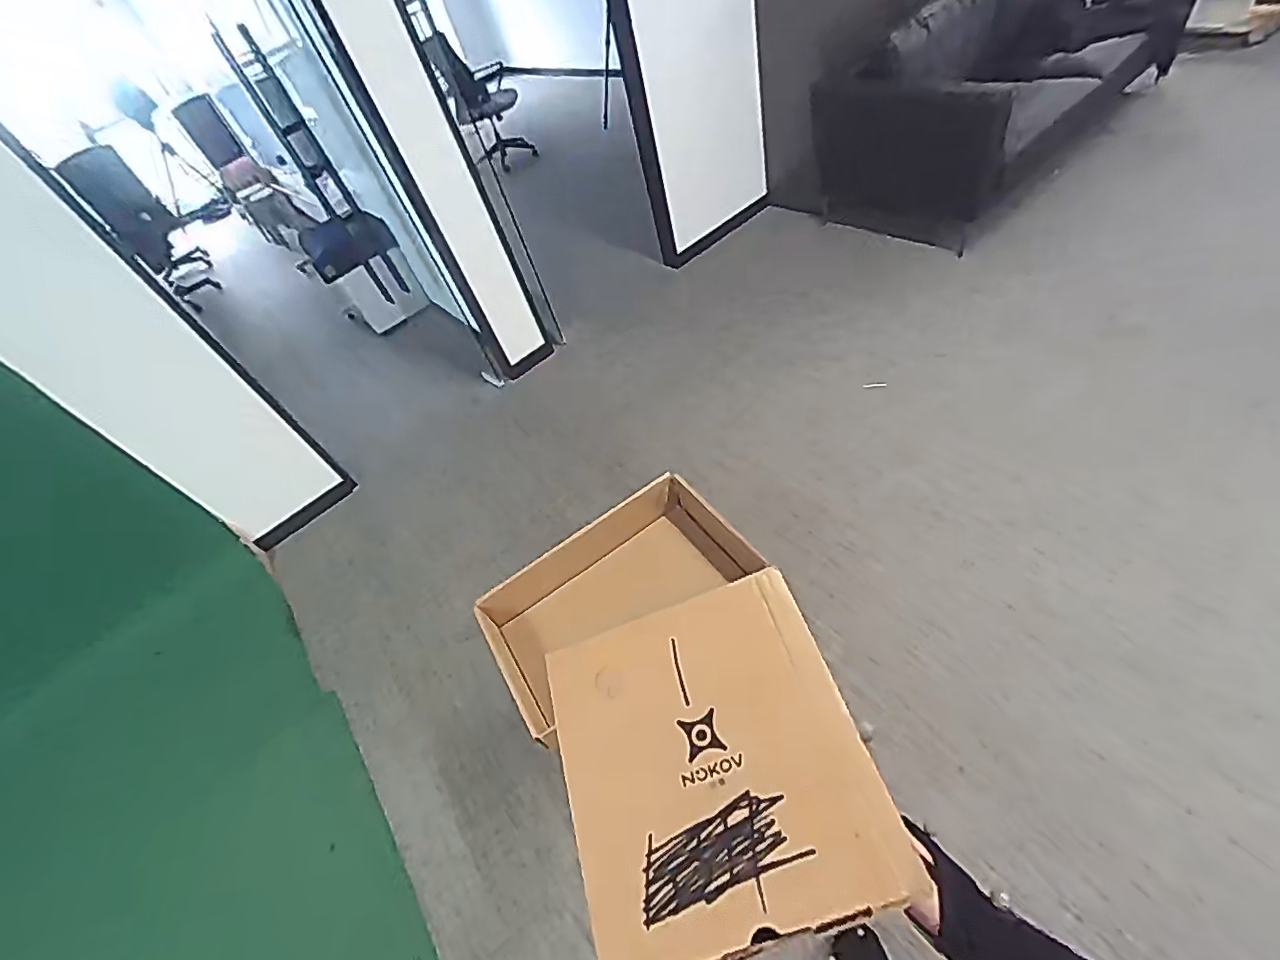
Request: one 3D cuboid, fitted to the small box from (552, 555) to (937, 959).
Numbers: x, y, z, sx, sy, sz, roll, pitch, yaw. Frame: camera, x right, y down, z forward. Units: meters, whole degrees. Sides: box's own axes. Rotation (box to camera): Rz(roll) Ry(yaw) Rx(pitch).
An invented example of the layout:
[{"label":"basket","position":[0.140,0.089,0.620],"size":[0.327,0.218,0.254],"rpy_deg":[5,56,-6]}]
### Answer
[{"label":"small box","position":[0.060,0.183,0.362],"size":[0.168,0.176,0.179],"rpy_deg":[-21,54,3]}]
